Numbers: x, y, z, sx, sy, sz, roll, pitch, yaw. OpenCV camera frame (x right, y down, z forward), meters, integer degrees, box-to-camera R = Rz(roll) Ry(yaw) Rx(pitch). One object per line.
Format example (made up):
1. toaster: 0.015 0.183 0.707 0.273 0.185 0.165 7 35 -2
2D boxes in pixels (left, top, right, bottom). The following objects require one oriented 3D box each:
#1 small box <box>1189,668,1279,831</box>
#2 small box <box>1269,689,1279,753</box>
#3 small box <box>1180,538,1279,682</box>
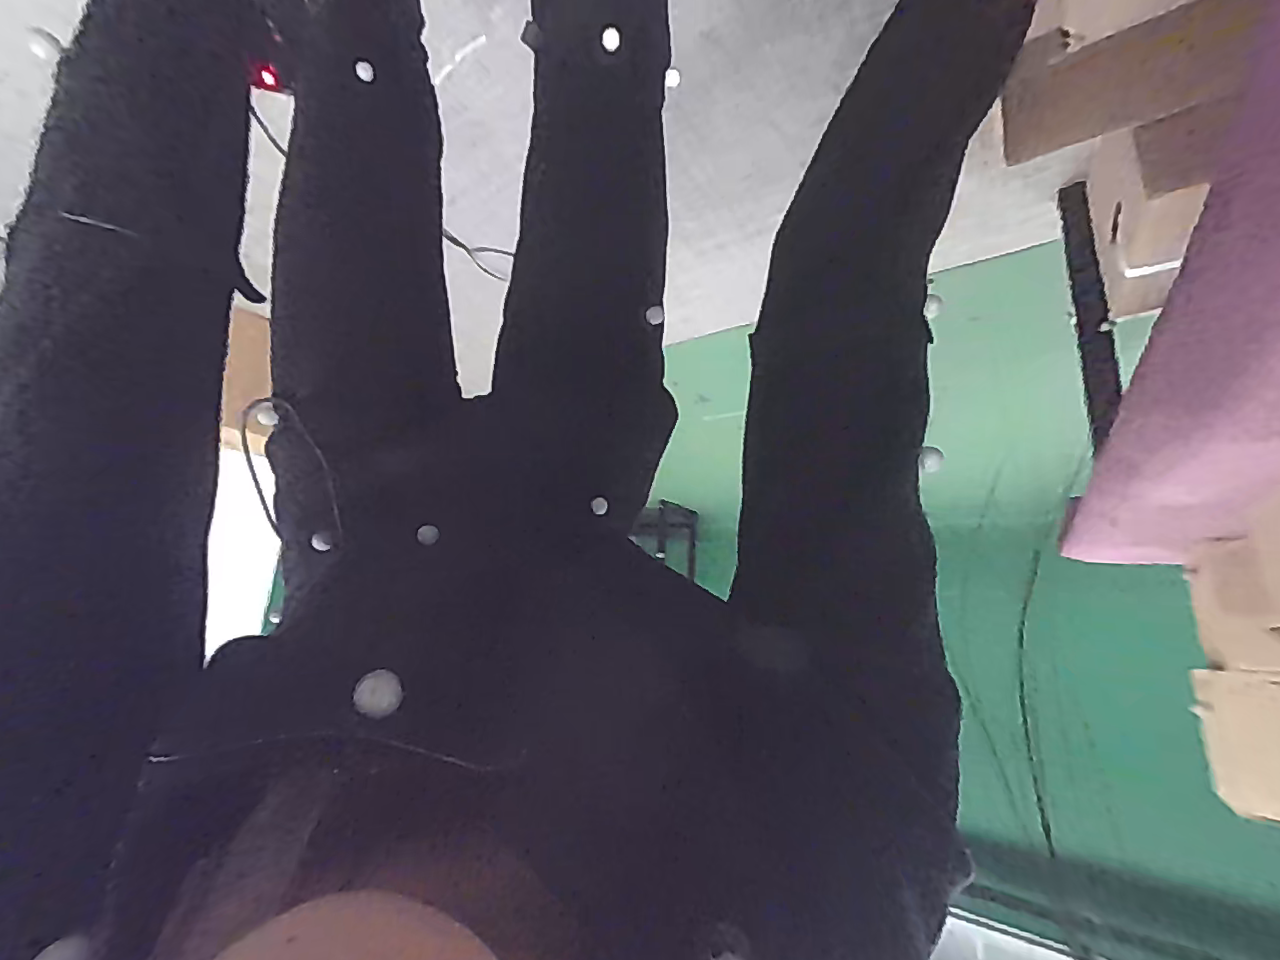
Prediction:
1. small box: 0.822 0.328 0.661 0.179 0.176 0.168 -8 160 37
2. small box: 0.585 0.239 0.368 0.168 0.176 0.179 -8 161 37
3. small box: 0.831 0.165 0.683 0.179 0.176 0.168 -8 160 37
